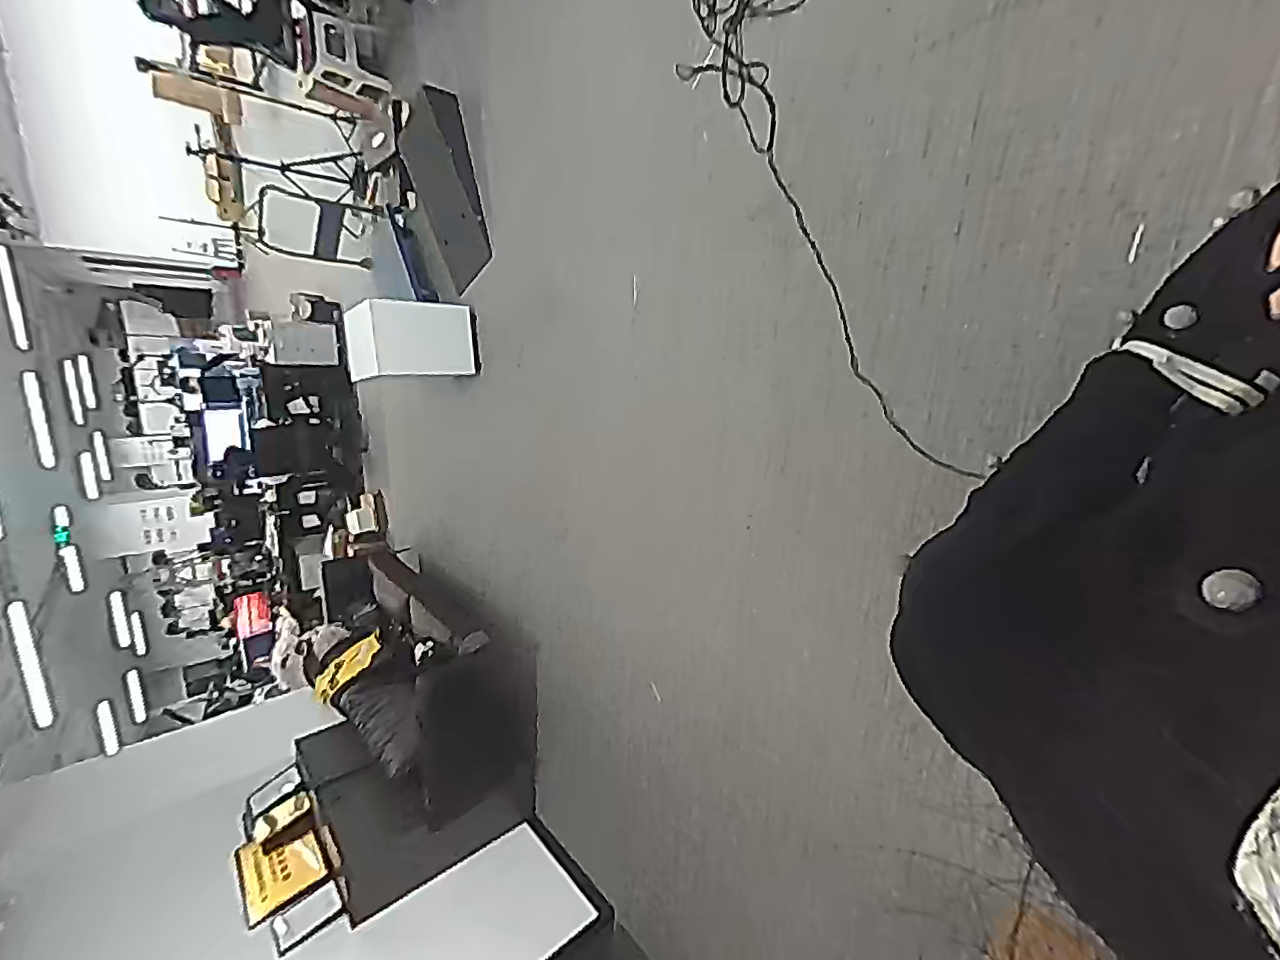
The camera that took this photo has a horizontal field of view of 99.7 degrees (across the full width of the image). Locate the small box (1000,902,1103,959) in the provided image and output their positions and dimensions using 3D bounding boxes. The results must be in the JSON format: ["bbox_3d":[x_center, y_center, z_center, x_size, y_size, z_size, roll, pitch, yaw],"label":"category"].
[{"bbox_3d":[0.989,1.188,1.310,0.168,0.176,0.179,25,116,45],"label":"small box"}]
